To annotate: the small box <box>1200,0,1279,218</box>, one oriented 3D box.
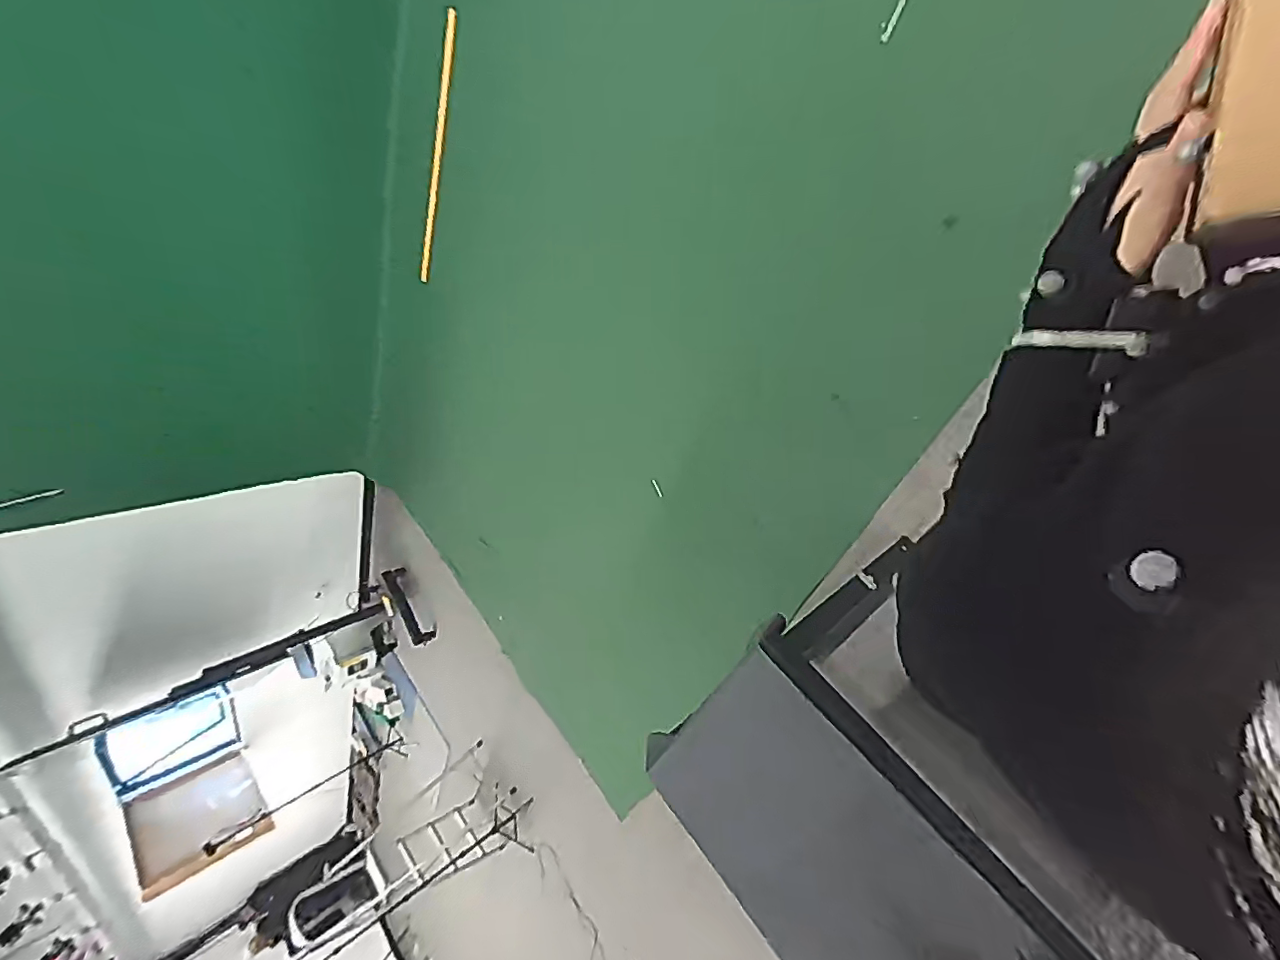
[{"bbox_3d":[0.391,-0.238,0.251,0.168,0.176,0.179,6,110,42],"label":"small box"}]
